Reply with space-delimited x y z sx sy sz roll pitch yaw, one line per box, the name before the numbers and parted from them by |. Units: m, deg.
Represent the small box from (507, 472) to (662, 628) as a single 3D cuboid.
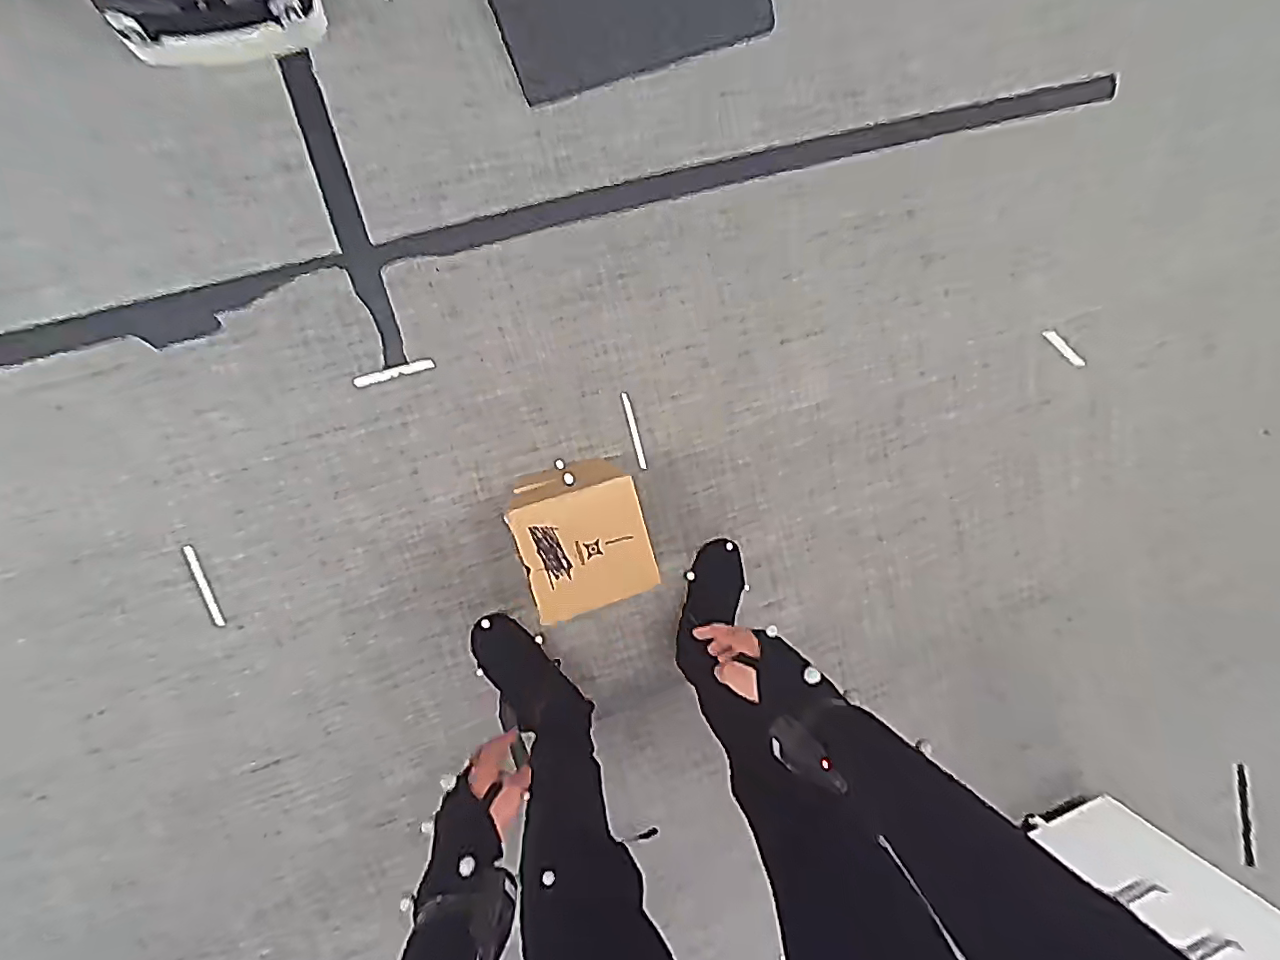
small box | -0.086 0.092 0.802 0.179 0.176 0.168 -17 99 -10
